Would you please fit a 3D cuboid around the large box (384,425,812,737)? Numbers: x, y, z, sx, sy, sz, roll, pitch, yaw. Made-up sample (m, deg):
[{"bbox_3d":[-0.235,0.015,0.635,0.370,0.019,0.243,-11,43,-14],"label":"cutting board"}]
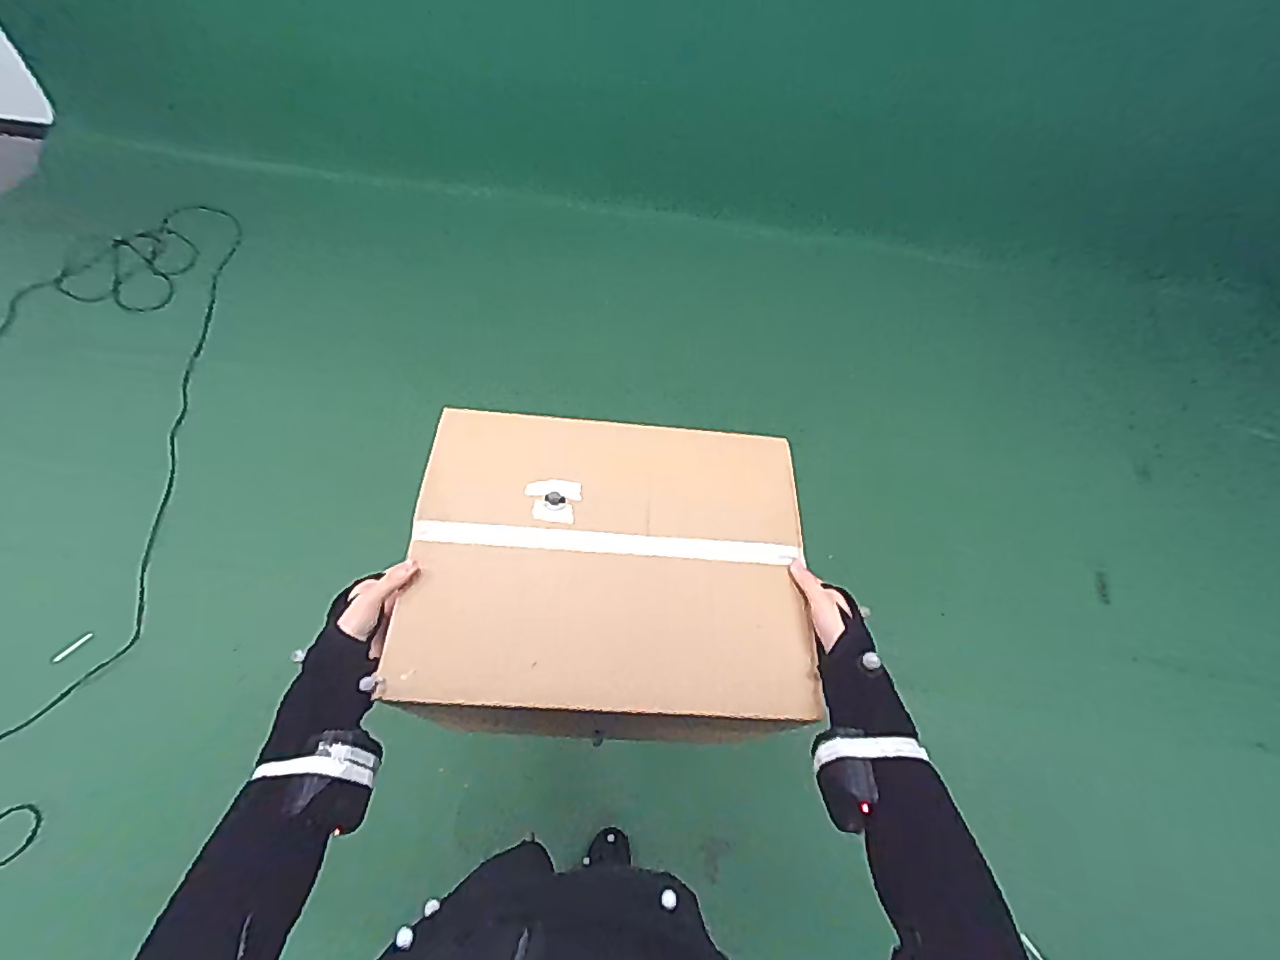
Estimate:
[{"bbox_3d":[-0.042,0.151,0.698,0.408,0.320,0.320,4,59,-4],"label":"large box"}]
